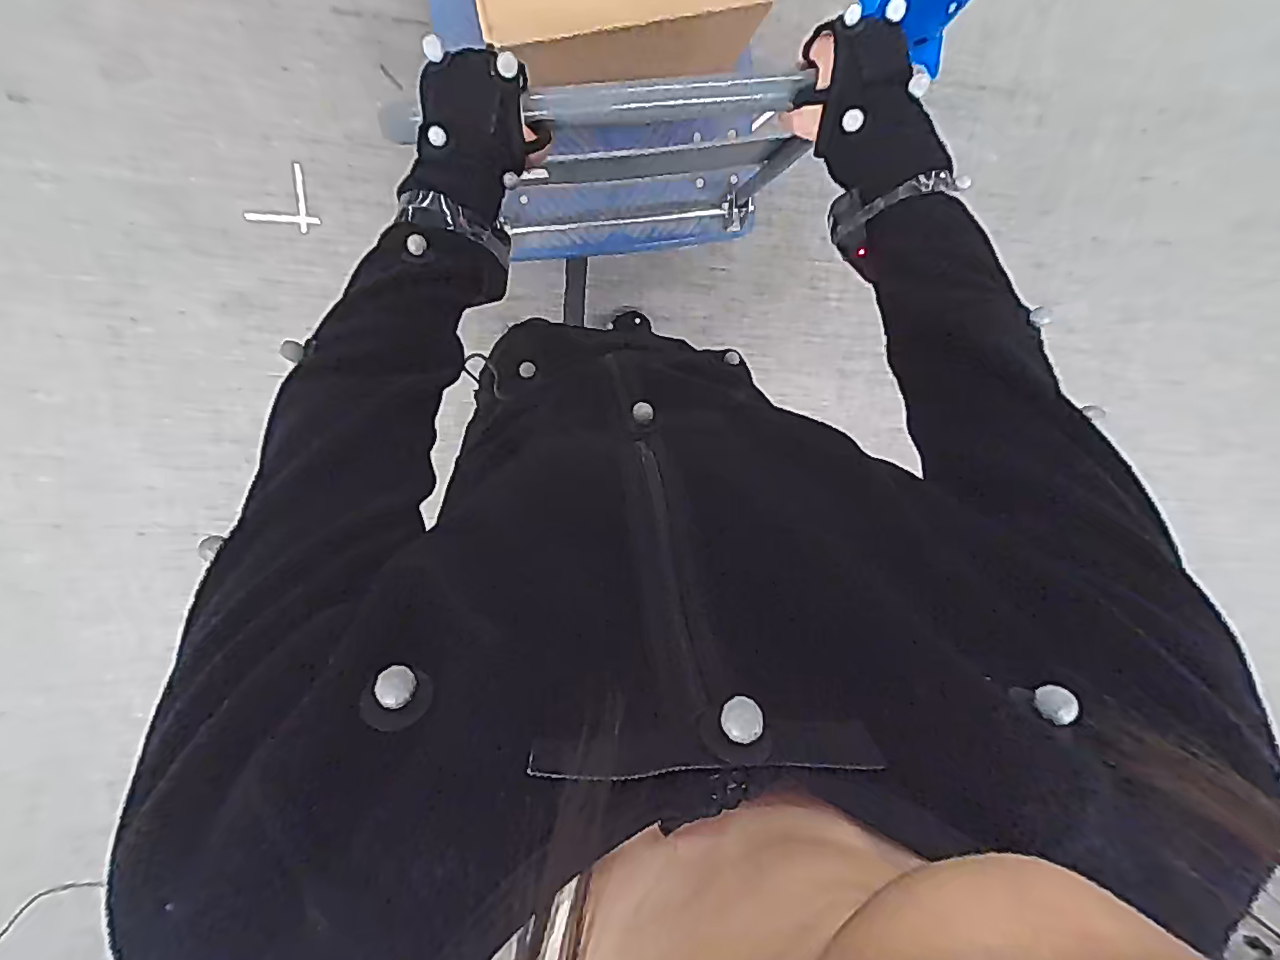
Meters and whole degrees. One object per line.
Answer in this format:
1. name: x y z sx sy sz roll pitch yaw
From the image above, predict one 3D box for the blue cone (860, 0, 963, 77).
1. blue cone: 0.595 -0.950 1.033 0.193 0.380 0.192 -2 107 -6
